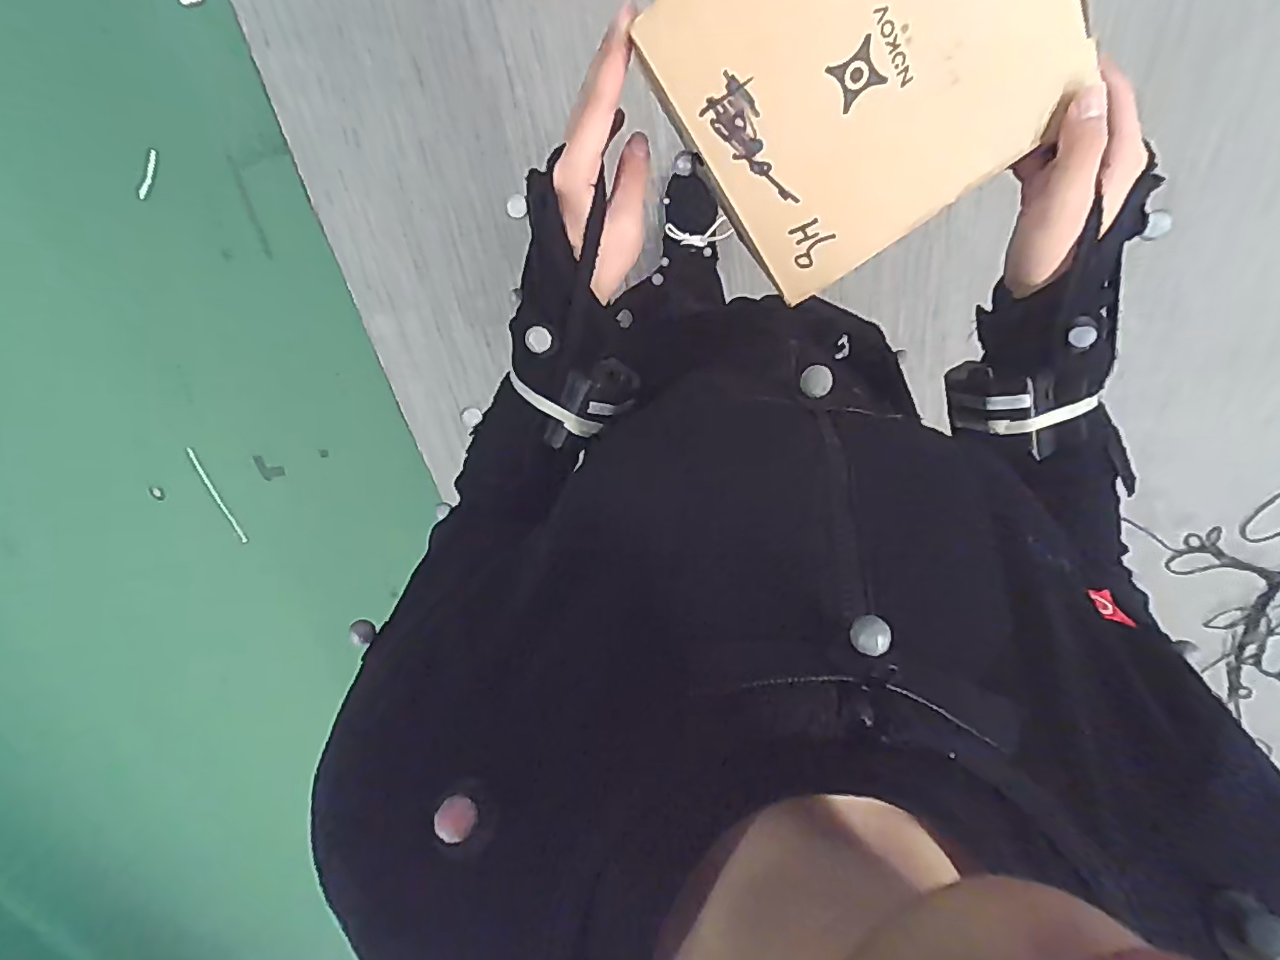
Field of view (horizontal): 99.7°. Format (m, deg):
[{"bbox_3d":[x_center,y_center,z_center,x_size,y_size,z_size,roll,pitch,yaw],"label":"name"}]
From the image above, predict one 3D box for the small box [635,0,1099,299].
[{"bbox_3d":[0.108,-0.247,0.320,0.179,0.176,0.168,-32,120,19],"label":"small box"}]
